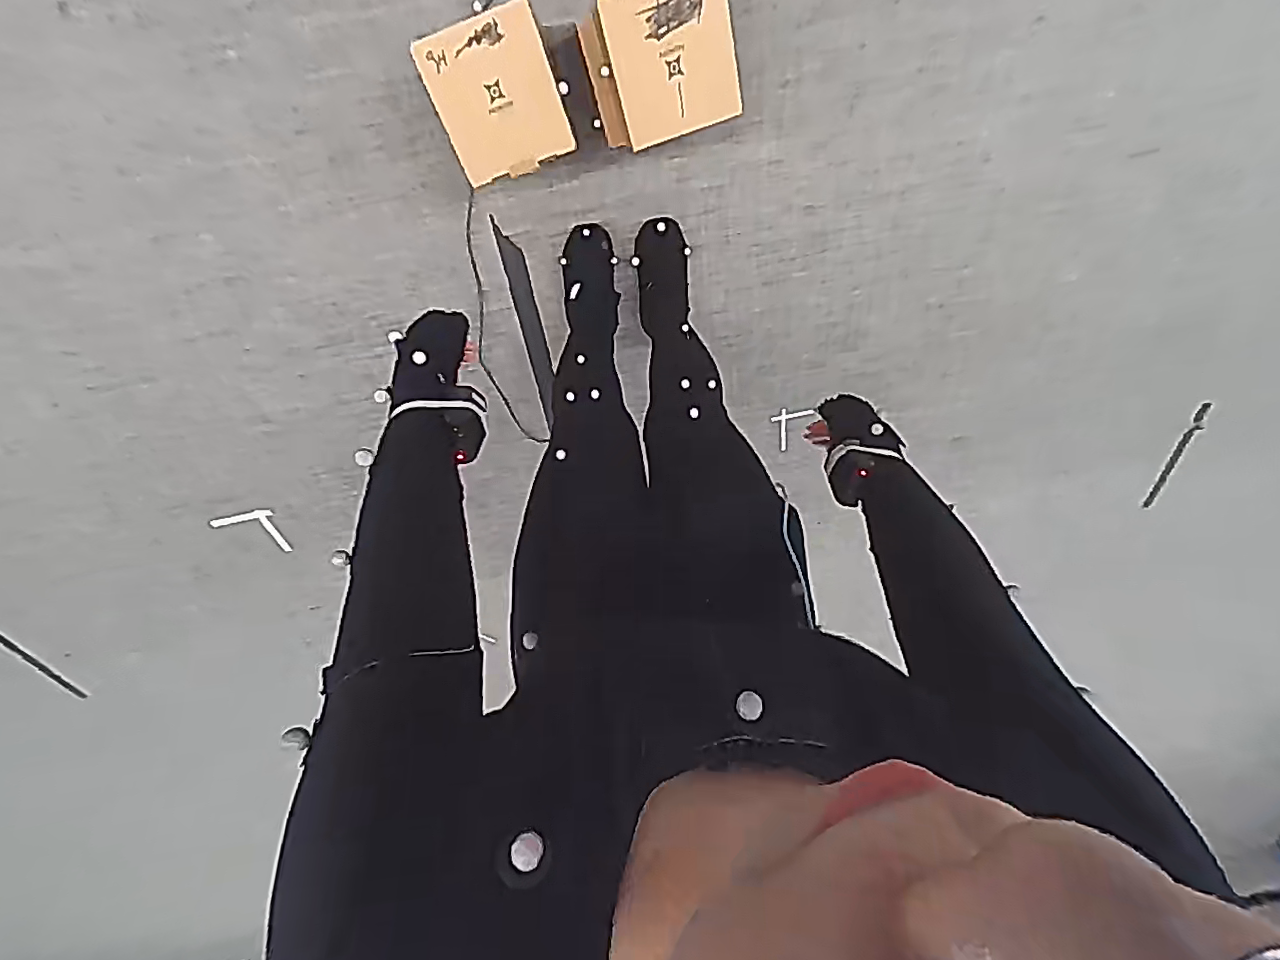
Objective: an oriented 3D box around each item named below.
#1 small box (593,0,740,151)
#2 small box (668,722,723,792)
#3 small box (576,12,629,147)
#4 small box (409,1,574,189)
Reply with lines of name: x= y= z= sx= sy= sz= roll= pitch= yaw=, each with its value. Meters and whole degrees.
small box: x=0.035 y=-0.609 z=0.787 sx=0.168 sy=0.176 sz=0.179 roll=-16 pitch=128 yaw=5
small box: x=0.201 y=1.004 z=1.977 sx=0.168 sy=0.176 sz=0.179 roll=-11 pitch=128 yaw=1
small box: x=-0.006 y=-0.697 z=0.922 sx=0.168 sy=0.176 sz=0.179 roll=-17 pitch=127 yaw=6
small box: x=-0.203 y=-0.560 z=0.794 sx=0.168 sy=0.176 sz=0.179 roll=-18 pitch=127 yaw=5
